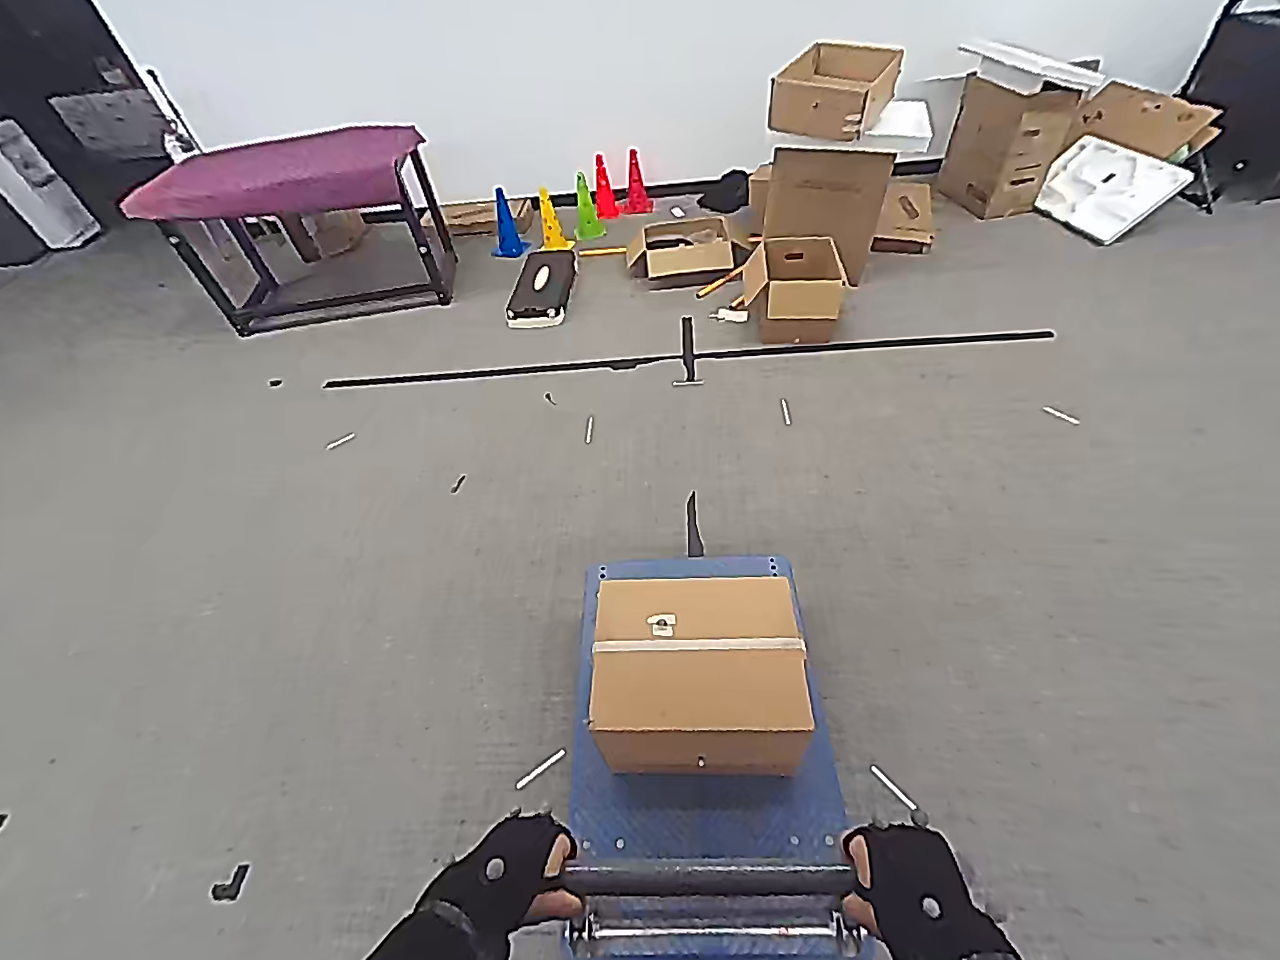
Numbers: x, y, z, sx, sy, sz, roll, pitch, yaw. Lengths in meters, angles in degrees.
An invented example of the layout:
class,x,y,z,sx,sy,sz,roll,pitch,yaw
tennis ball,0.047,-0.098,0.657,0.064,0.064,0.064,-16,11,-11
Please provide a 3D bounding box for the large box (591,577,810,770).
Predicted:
class,x,y,z,sx,sy,sz,roll,pitch,yaw
large box,0.126,0.432,1.187,0.408,0.320,0.320,-3,47,6
